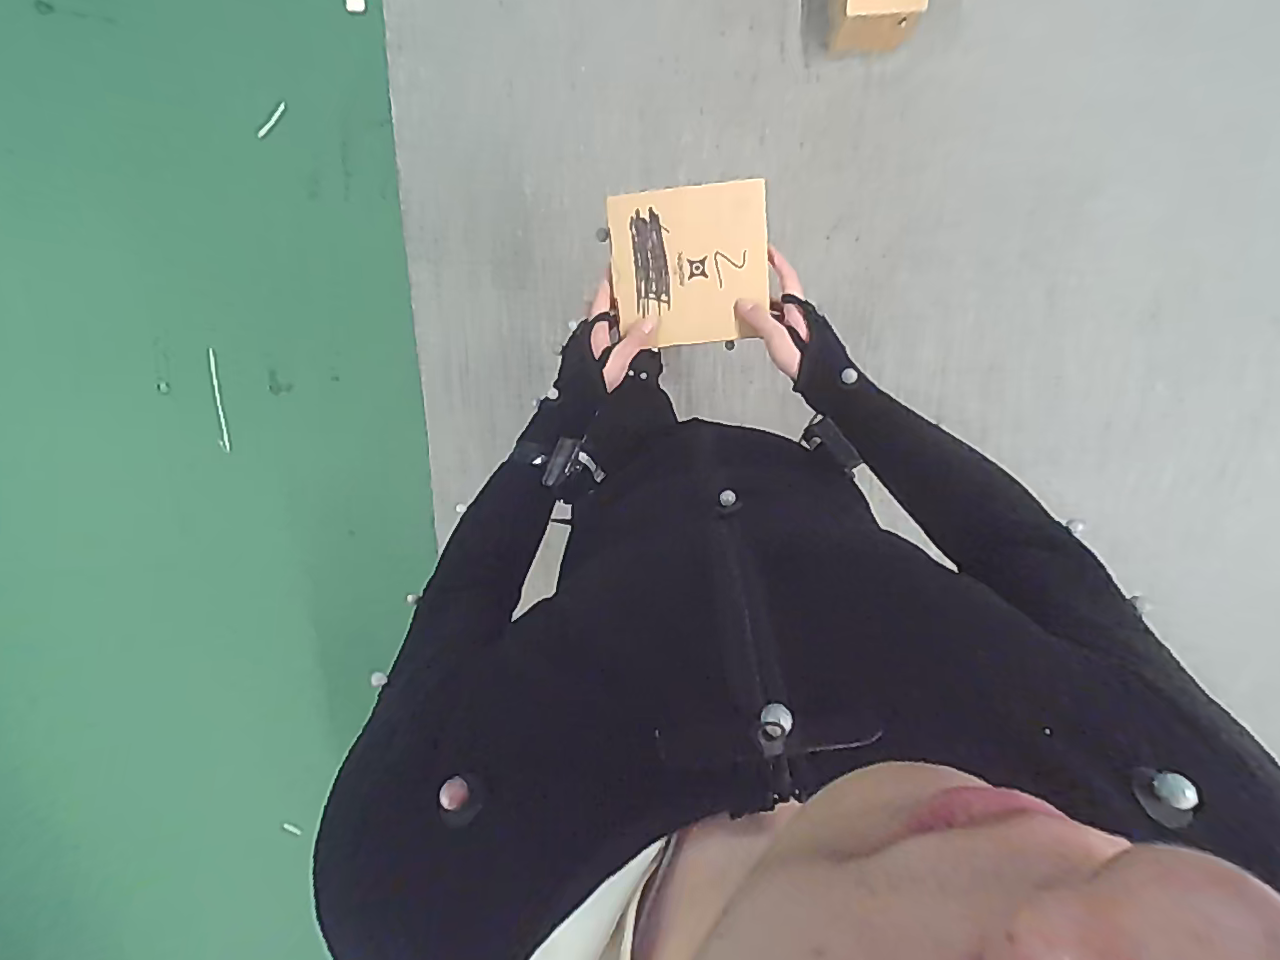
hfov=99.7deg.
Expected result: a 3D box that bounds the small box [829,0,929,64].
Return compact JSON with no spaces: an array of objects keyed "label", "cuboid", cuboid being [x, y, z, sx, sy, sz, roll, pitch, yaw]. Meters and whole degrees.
[{"label":"small box","cuboid":[0.547,-1.101,1.251,0.179,0.176,0.168,-1,102,4]}]
